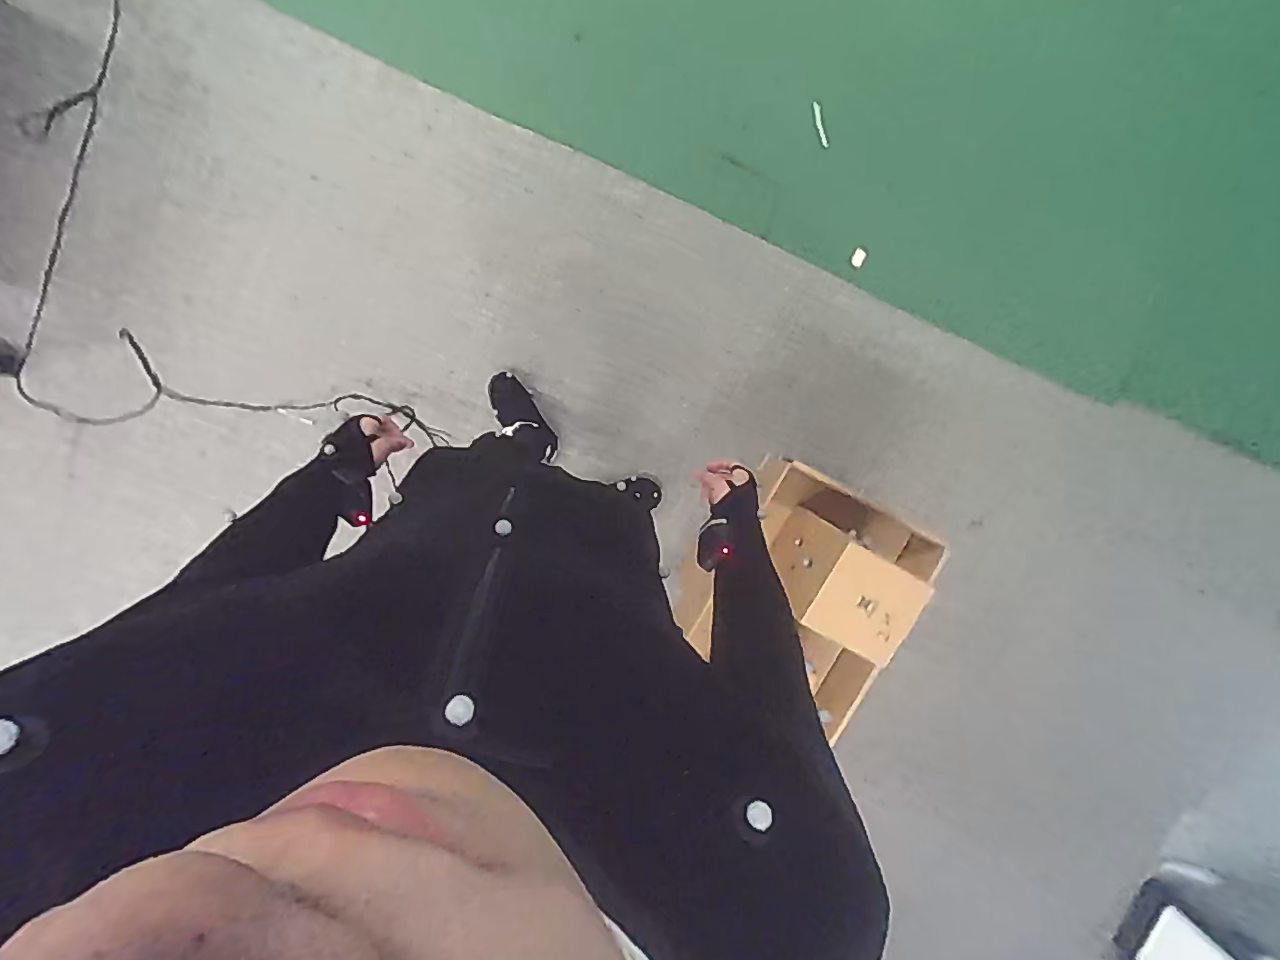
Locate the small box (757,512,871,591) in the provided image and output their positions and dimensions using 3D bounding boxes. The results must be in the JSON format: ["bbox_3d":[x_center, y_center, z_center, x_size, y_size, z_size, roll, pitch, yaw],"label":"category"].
[{"bbox_3d":[0.381,0.186,1.160,0.179,0.176,0.168,31,95,-6],"label":"small box"}]

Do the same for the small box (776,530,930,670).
[{"bbox_3d":[0.377,0.208,0.997,0.179,0.176,0.168,30,97,-5],"label":"small box"}]
